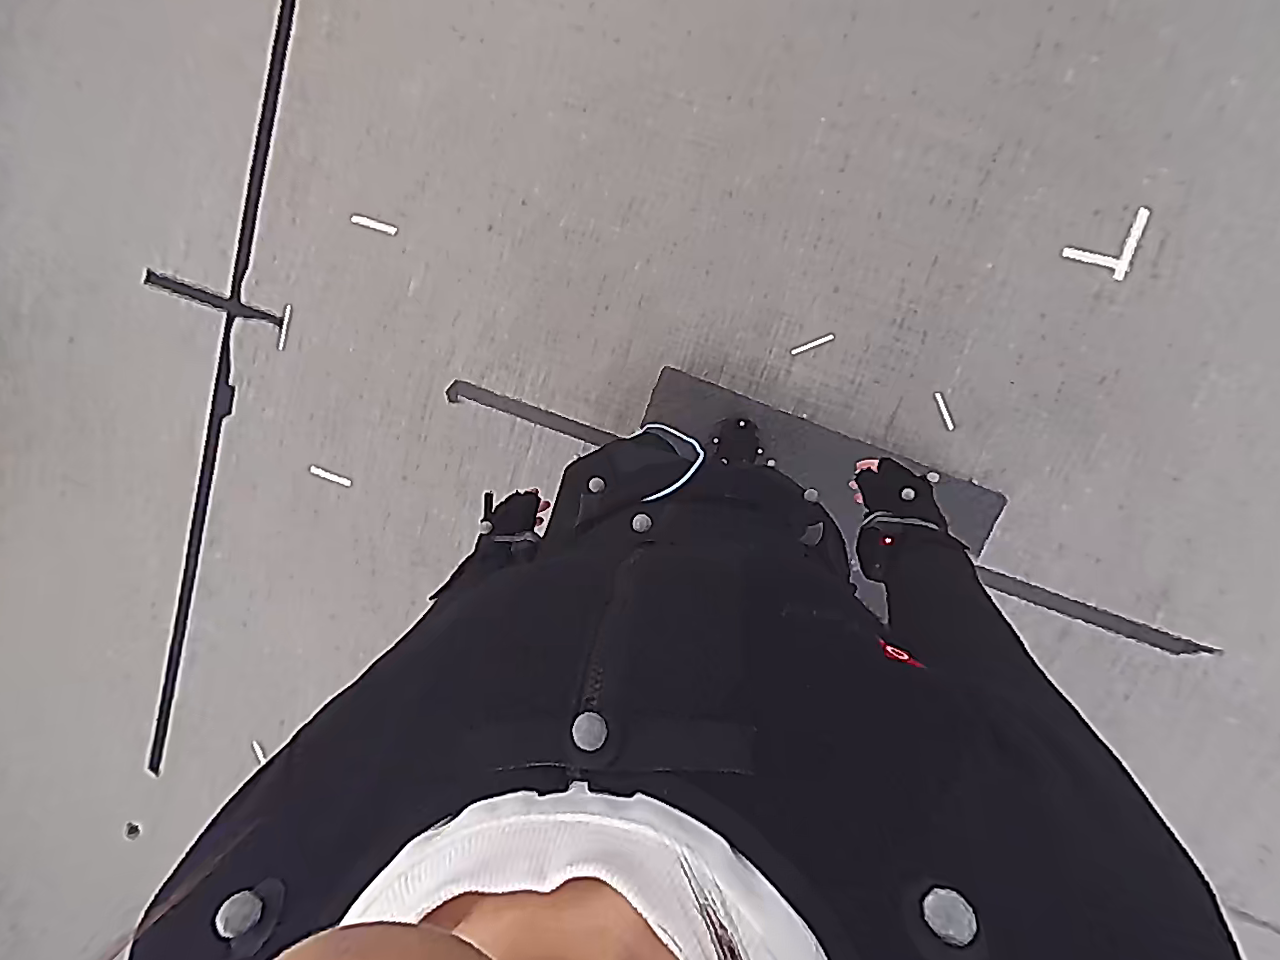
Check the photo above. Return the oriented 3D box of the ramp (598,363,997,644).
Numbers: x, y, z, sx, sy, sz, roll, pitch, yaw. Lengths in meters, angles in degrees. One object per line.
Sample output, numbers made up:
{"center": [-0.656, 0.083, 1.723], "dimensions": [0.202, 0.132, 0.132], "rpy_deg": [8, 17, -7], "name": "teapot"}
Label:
{"center": [0.431, 0.083, 1.469], "dimensions": [0.991, 0.206, 0.509], "rpy_deg": [20, 99, 5], "name": "ramp"}
